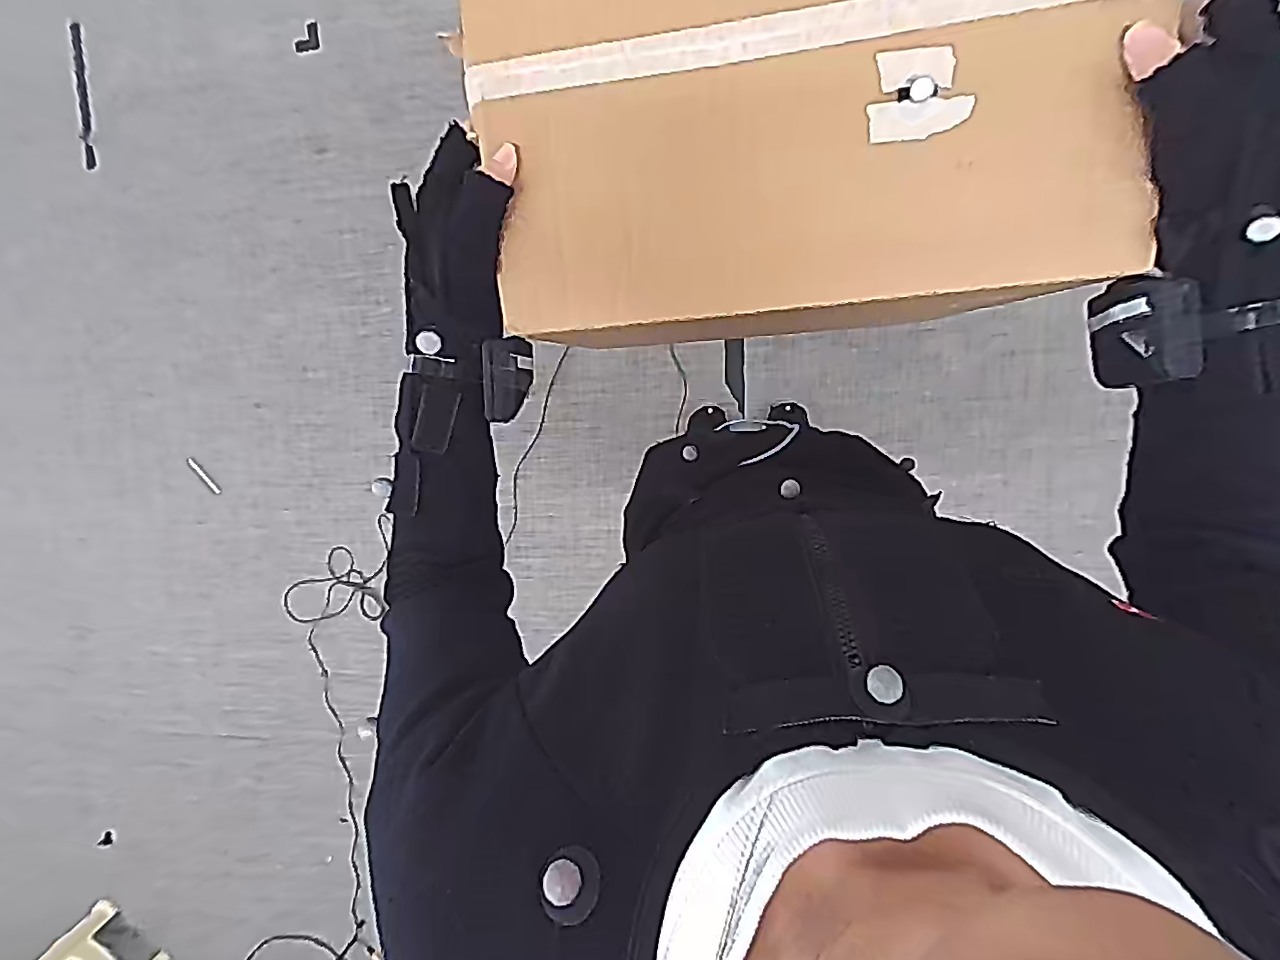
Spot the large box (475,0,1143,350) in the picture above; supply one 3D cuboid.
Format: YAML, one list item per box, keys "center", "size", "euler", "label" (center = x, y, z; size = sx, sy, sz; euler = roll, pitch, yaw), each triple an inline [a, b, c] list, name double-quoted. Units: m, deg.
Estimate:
- center: [0.107, -0.300, 0.481]
  size: [0.408, 0.320, 0.320]
  euler: [-4, 101, 7]
  label: "large box"
